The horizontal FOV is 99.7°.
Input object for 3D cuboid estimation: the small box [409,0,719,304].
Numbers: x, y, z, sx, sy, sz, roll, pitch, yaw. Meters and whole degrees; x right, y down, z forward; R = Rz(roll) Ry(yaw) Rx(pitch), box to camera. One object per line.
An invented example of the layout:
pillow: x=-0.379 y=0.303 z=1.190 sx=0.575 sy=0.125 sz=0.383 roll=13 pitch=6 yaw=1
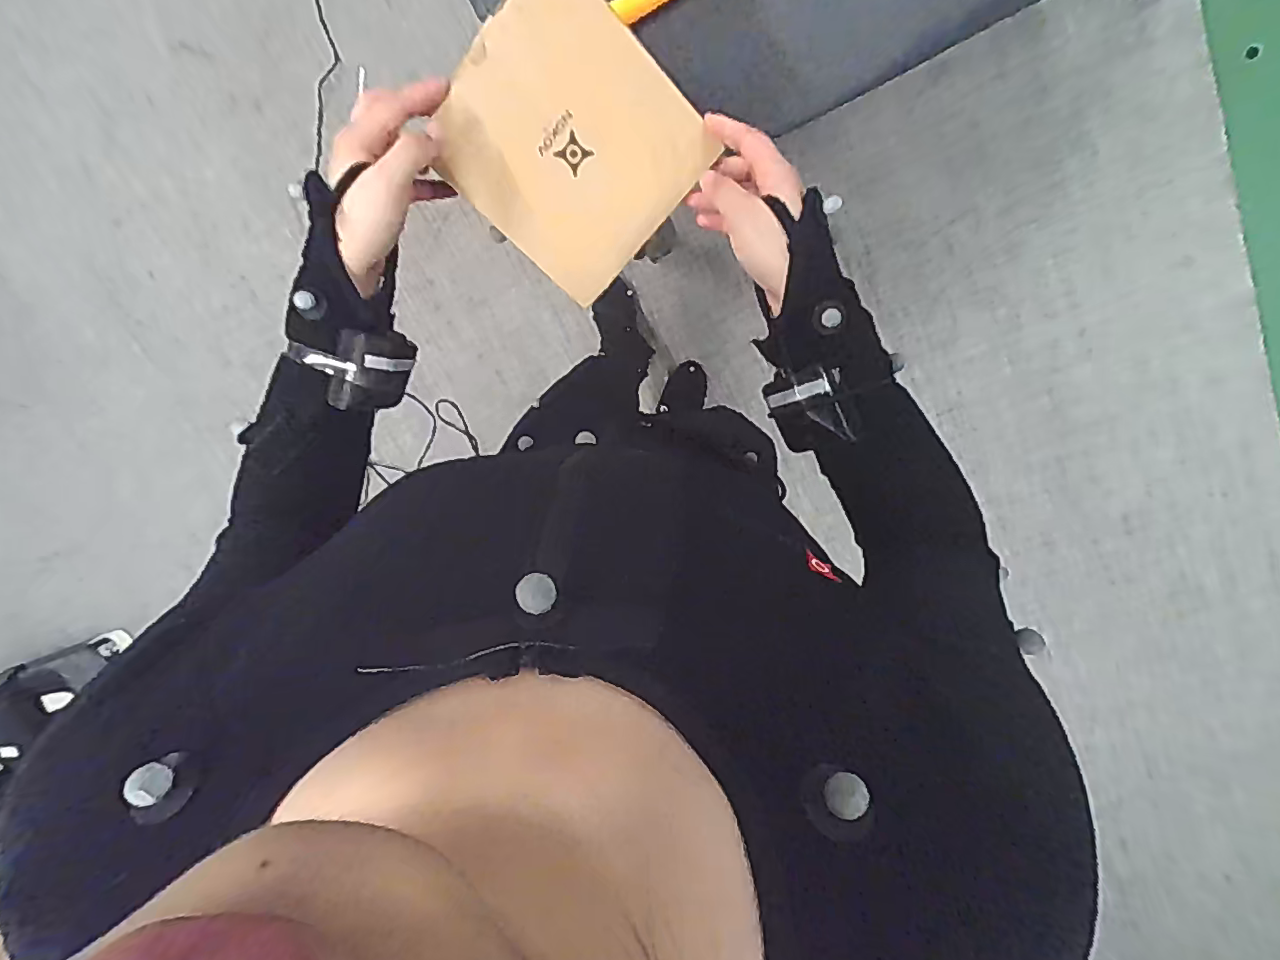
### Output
small box: x=-0.057 y=-0.291 z=0.472 sx=0.179 sy=0.176 sz=0.168 roll=39 pitch=111 yaw=-21
